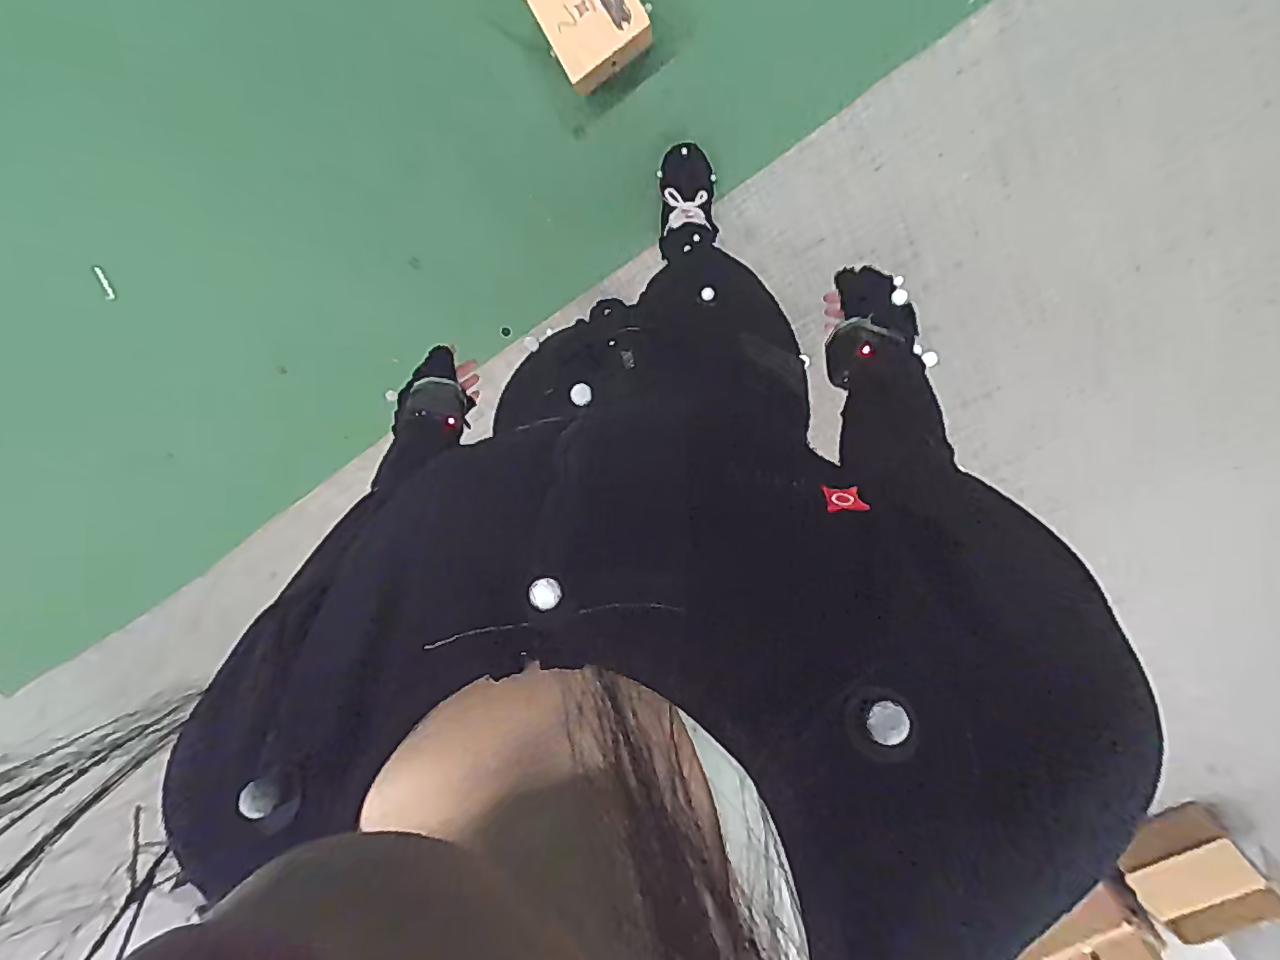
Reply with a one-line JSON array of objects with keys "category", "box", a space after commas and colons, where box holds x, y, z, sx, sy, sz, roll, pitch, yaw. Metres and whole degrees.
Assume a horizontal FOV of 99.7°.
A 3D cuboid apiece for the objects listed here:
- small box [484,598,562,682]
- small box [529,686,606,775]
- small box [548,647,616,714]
[{"category": "small box", "box": [-0.377, 0.524, 1.778, 0.179, 0.176, 0.168, -29, 115, 15]}, {"category": "small box", "box": [-0.226, 0.804, 1.740, 0.179, 0.176, 0.168, -32, 113, 17]}, {"category": "small box", "box": [-0.198, 0.714, 1.876, 0.179, 0.176, 0.168, -35, 113, 18]}]
